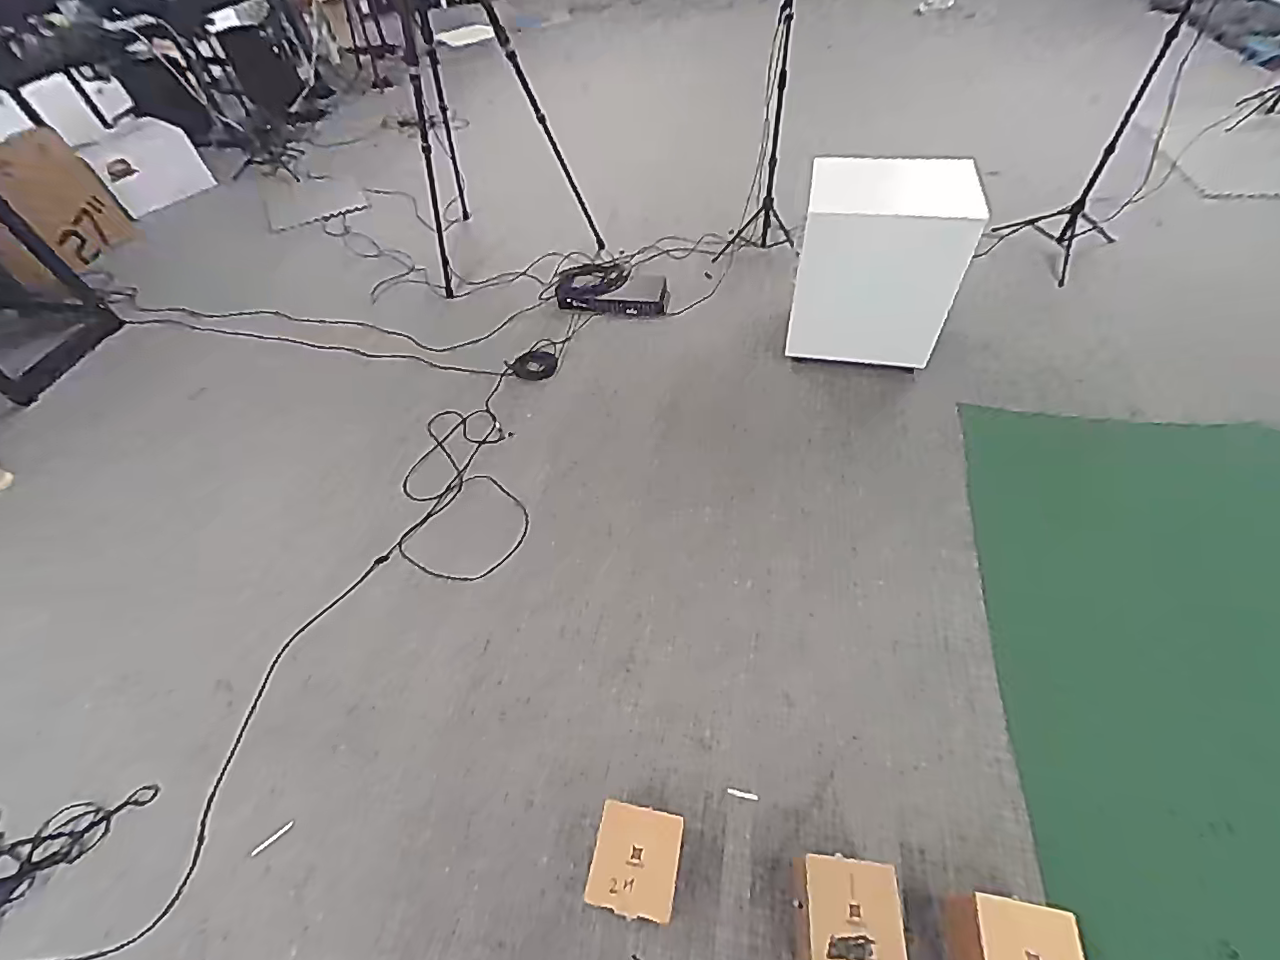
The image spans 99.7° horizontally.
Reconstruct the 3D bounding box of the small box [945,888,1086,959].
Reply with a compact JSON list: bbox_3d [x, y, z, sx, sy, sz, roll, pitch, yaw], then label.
[{"bbox_3d":[0.678,0.868,0.980,0.168,0.176,0.179,6,53,10],"label":"small box"}]

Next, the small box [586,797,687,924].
[{"bbox_3d":[0.000,0.776,1.106,0.168,0.176,0.179,7,53,12],"label":"small box"}]

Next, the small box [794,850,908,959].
[{"bbox_3d":[0.392,0.830,1.032,0.168,0.176,0.179,3,51,7],"label":"small box"}]
